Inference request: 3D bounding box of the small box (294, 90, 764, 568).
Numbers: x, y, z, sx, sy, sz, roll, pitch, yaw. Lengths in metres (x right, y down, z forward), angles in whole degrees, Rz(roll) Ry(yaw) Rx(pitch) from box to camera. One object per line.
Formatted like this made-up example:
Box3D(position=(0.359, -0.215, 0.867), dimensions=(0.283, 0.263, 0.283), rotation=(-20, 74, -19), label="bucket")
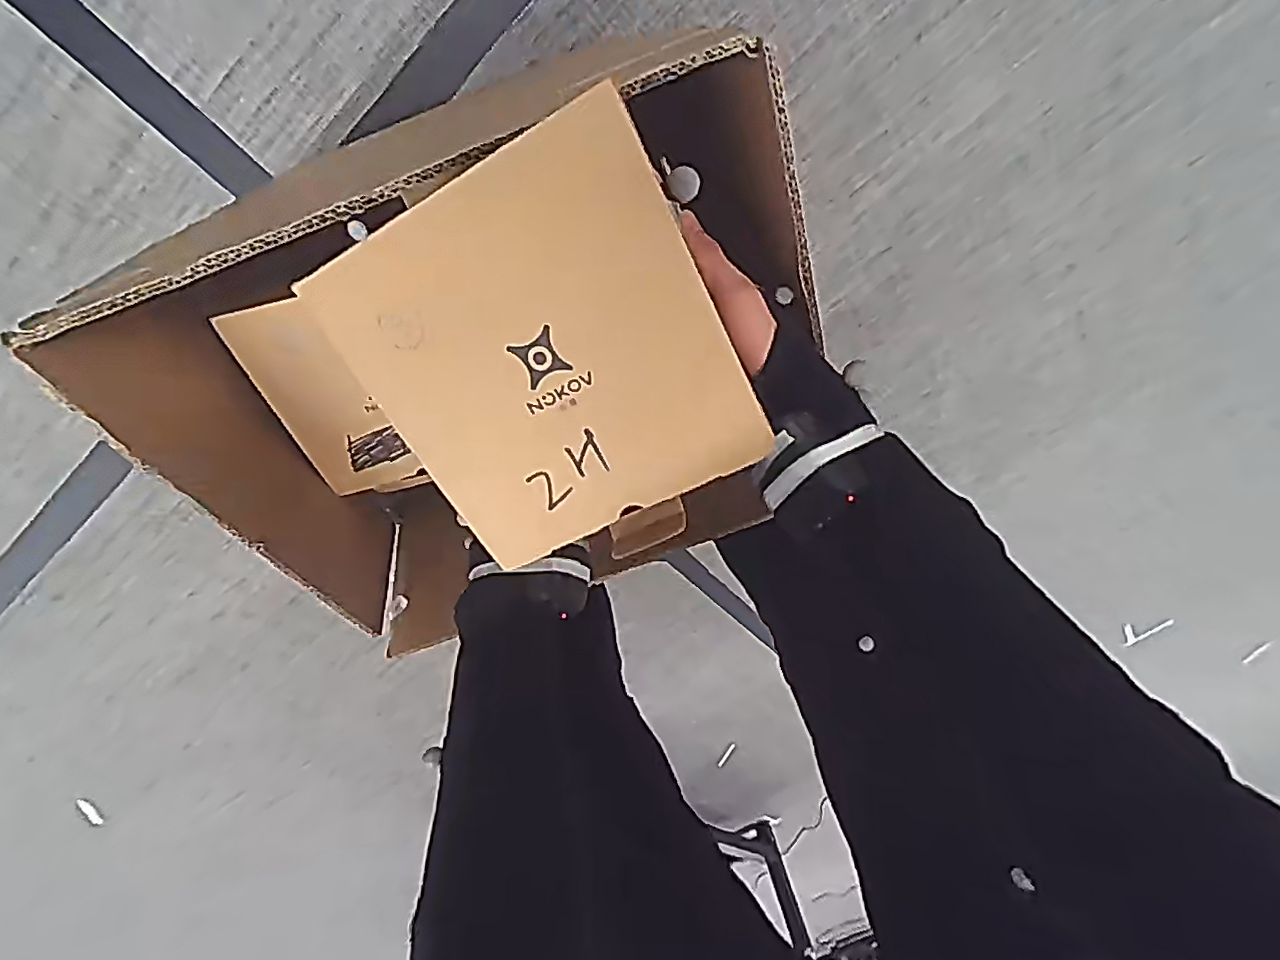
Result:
Box3D(position=(-0.046, -0.085, 0.329), dimensions=(0.168, 0.176, 0.179), rotation=(-25, 113, 14), label="small box")
